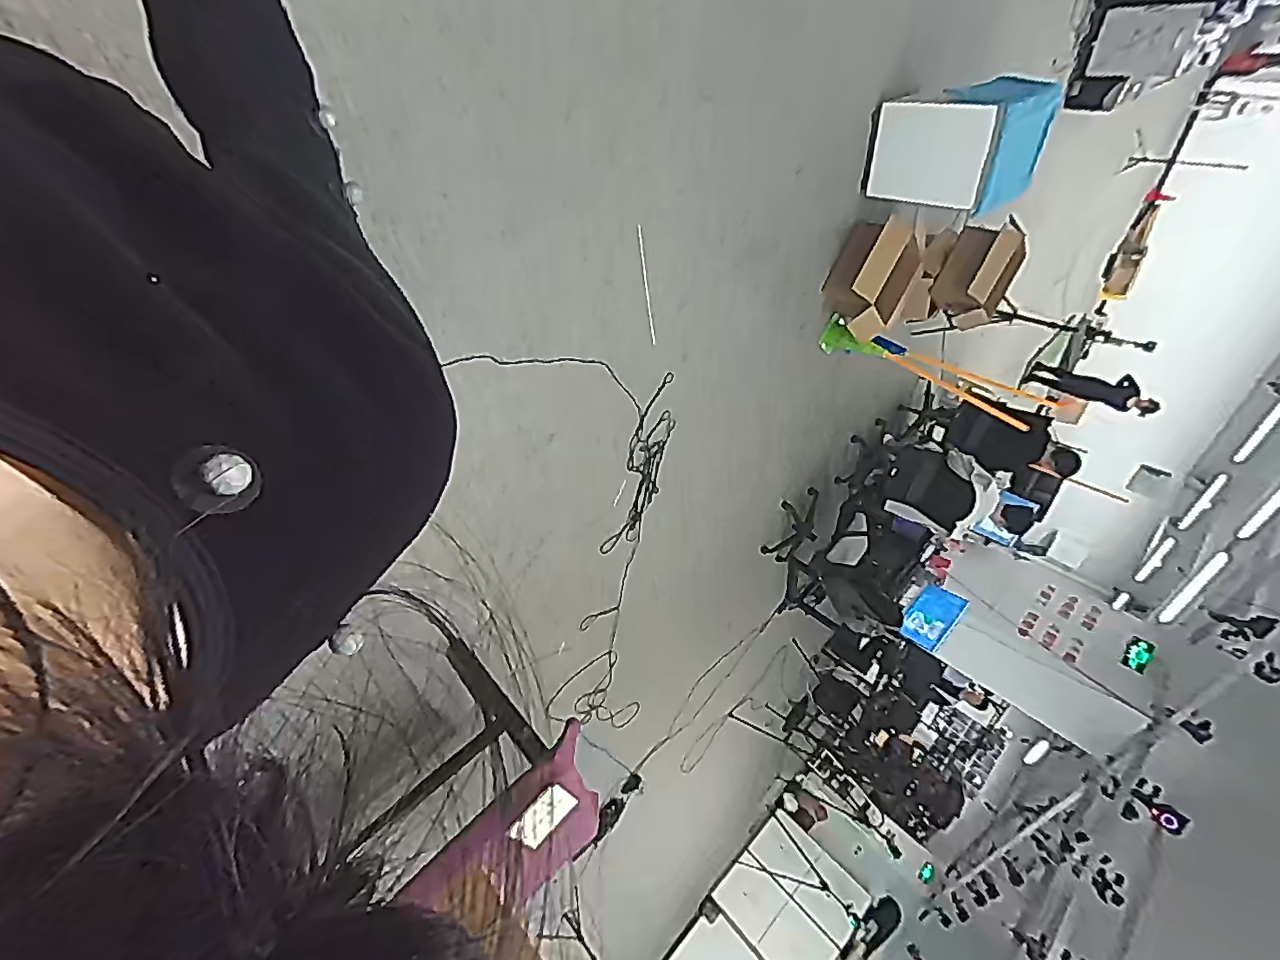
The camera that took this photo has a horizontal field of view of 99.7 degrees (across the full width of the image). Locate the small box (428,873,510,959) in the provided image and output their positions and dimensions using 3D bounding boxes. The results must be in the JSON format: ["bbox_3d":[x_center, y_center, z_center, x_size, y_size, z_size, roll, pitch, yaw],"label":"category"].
[{"bbox_3d":[-0.484,1.291,1.569,0.168,0.176,0.179,-34,139,-28],"label":"small box"}]

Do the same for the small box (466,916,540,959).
[{"bbox_3d":[-0.368,1.350,1.469,0.179,0.176,0.168,-35,139,-29],"label":"small box"}]
